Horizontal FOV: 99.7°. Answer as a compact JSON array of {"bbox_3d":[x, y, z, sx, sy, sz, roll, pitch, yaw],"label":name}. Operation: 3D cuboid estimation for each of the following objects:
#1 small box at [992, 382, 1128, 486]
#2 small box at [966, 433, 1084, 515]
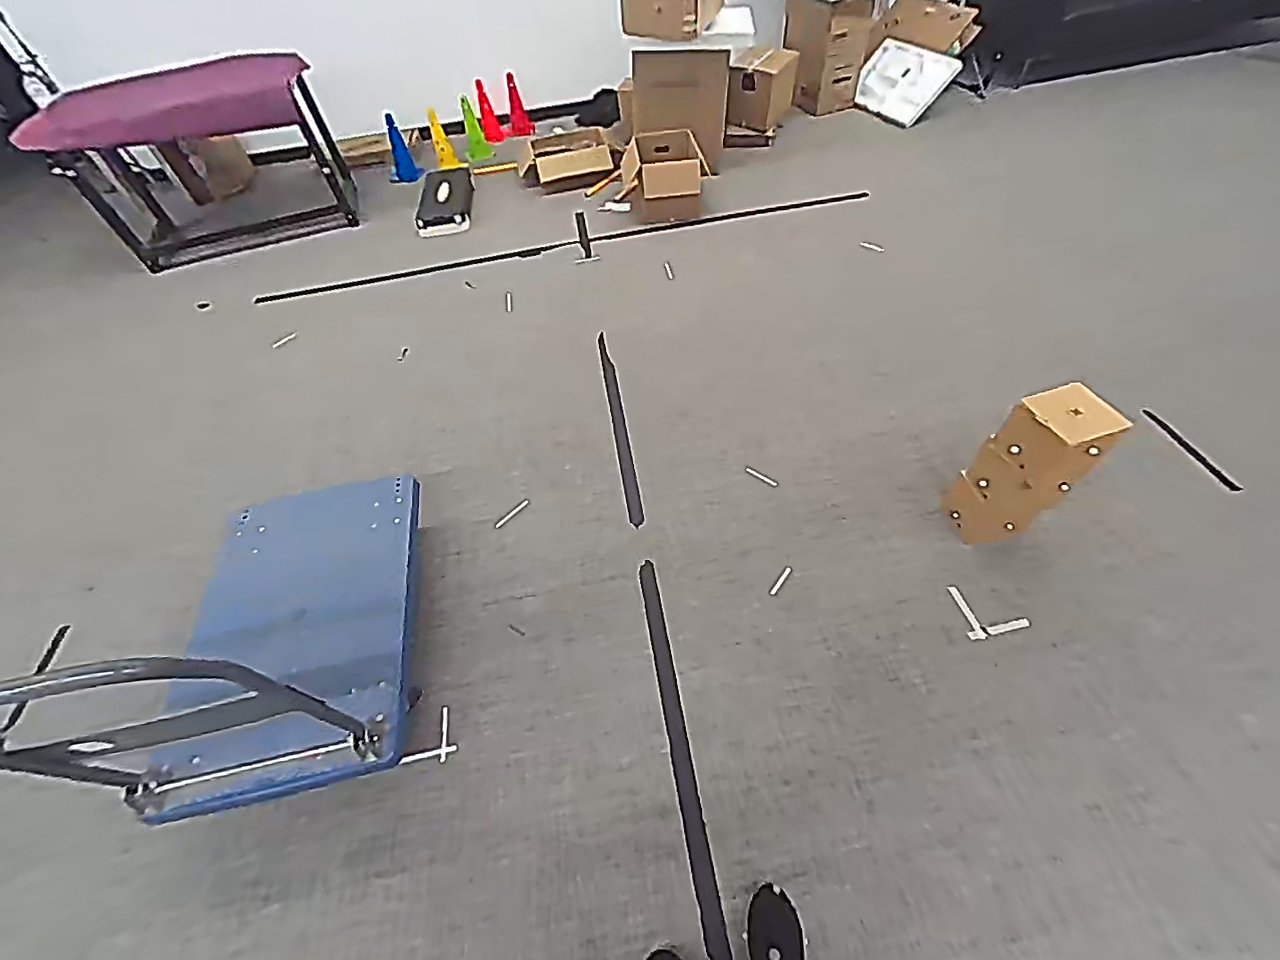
[{"bbox_3d":[1.035,-0.113,1.352,0.179,0.176,0.168,-17,52,-7],"label":"small box"},{"bbox_3d":[1.045,-0.022,1.487,0.179,0.176,0.168,-8,51,0],"label":"small box"}]
